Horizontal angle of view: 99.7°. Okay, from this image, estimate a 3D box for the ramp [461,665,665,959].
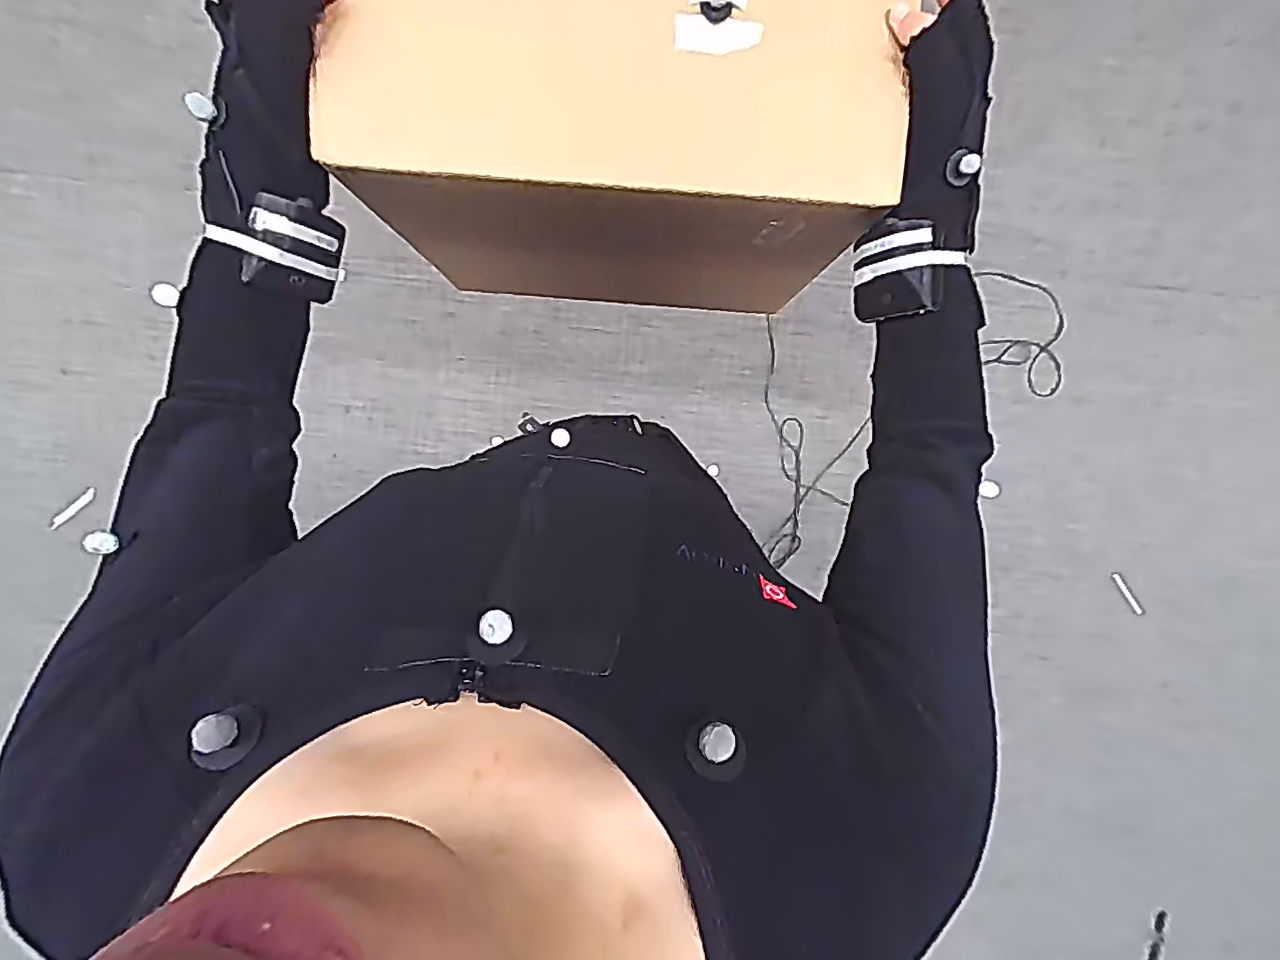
[{"bbox_3d":[-0.210,1.028,1.459,0.509,0.206,0.991,3,93,1],"label":"ramp"}]

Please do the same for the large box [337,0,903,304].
[{"bbox_3d":[-0.014,-0.374,0.527,0.408,0.320,0.320,3,94,-2],"label":"large box"}]
